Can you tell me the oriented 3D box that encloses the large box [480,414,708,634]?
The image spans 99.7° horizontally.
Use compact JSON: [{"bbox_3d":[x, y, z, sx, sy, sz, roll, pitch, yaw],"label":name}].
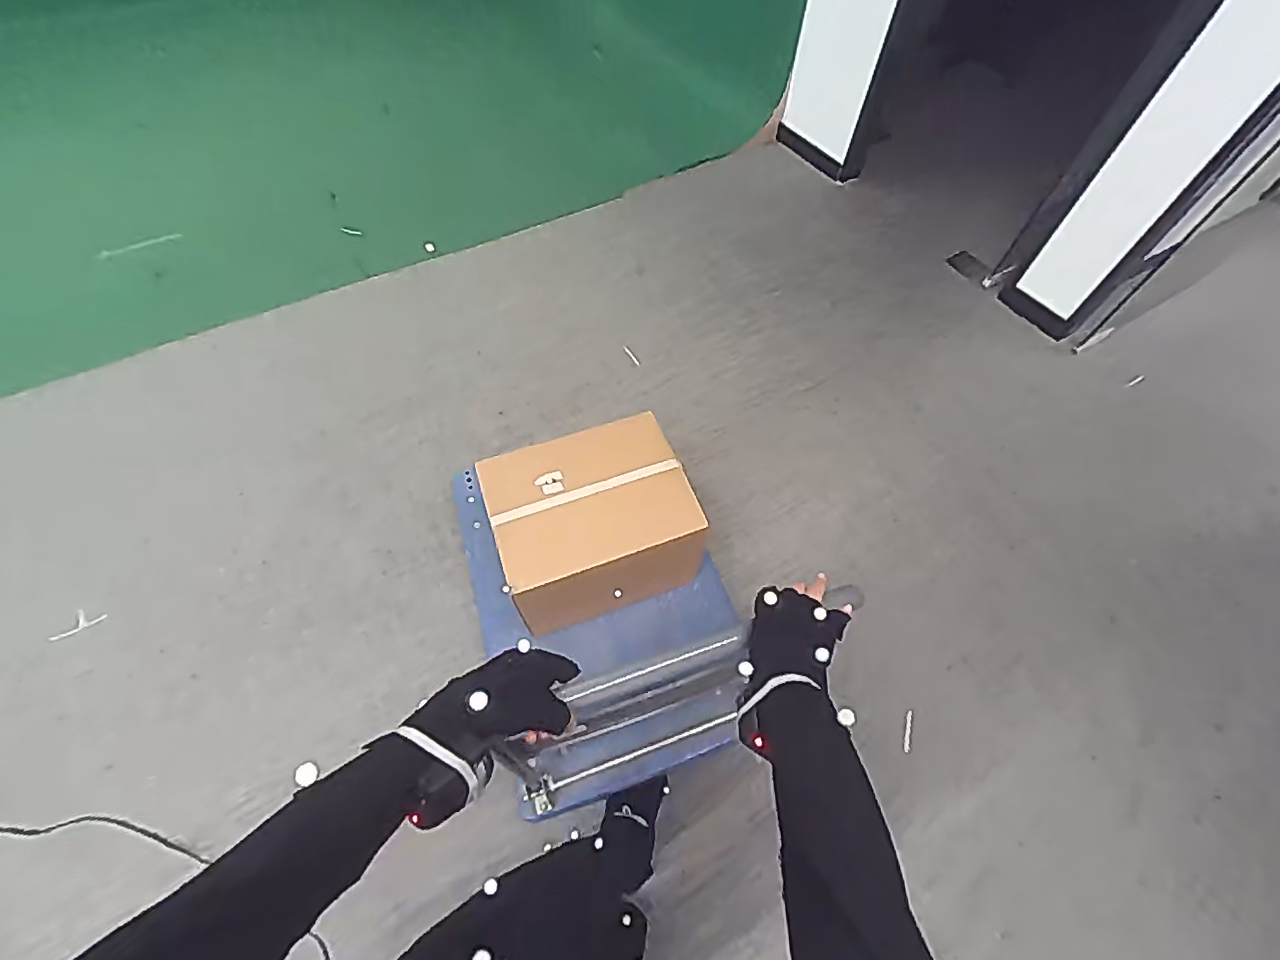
[{"bbox_3d":[-0.101,0.108,1.240,0.408,0.320,0.320,-19,61,-11],"label":"large box"}]
